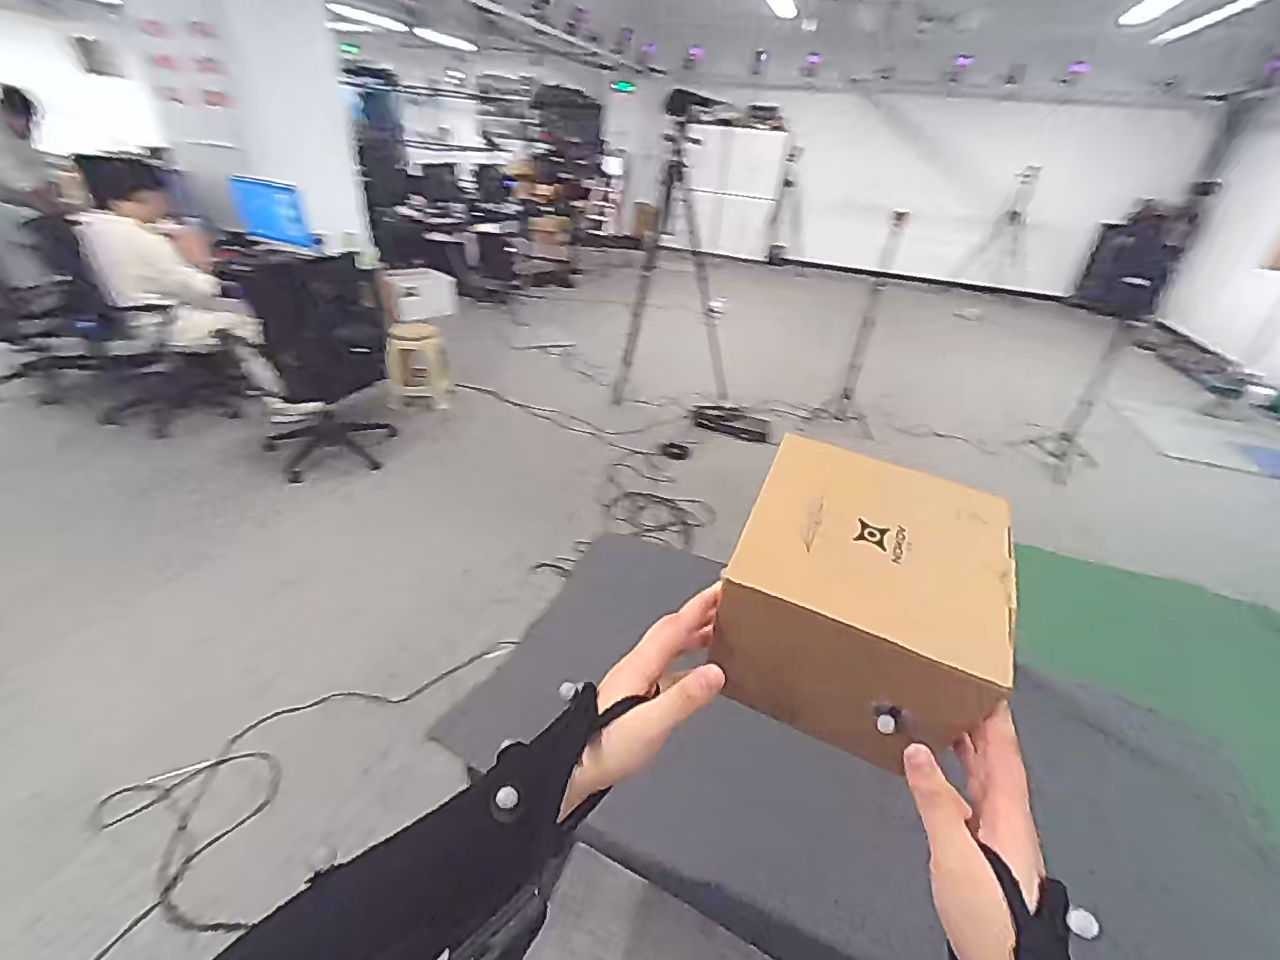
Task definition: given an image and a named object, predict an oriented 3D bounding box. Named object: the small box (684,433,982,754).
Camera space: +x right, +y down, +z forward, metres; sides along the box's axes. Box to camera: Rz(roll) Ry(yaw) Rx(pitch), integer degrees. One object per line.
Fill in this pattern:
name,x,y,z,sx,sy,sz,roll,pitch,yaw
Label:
small box,0.146,0.093,0.439,0.179,0.176,0.168,17,46,17
